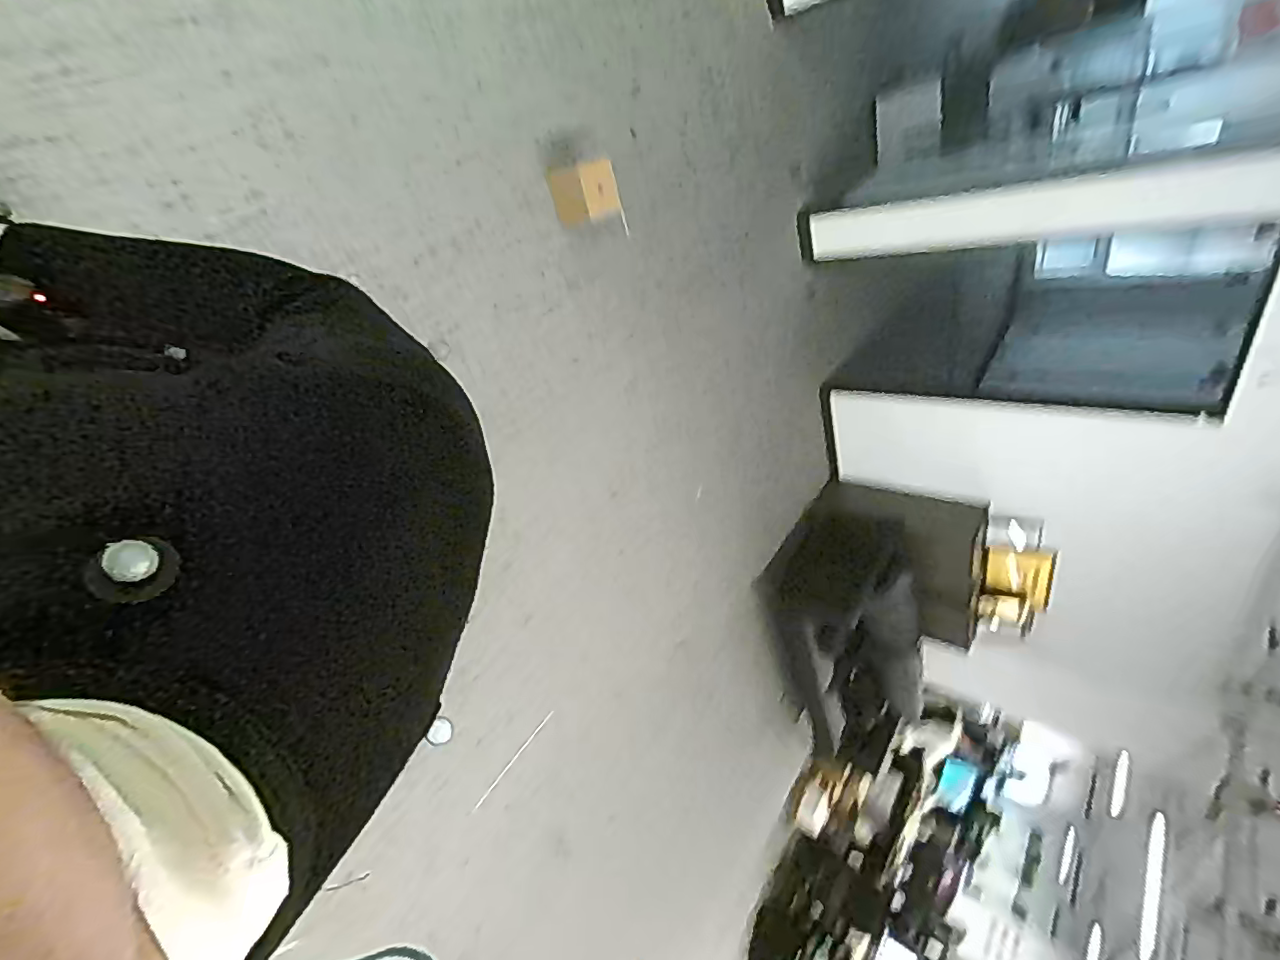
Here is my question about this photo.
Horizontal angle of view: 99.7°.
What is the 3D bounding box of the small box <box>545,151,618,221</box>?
[{"bbox_3d":[-0.209,-1.043,1.923,0.168,0.176,0.179,-41,129,-34],"label":"small box"}]
